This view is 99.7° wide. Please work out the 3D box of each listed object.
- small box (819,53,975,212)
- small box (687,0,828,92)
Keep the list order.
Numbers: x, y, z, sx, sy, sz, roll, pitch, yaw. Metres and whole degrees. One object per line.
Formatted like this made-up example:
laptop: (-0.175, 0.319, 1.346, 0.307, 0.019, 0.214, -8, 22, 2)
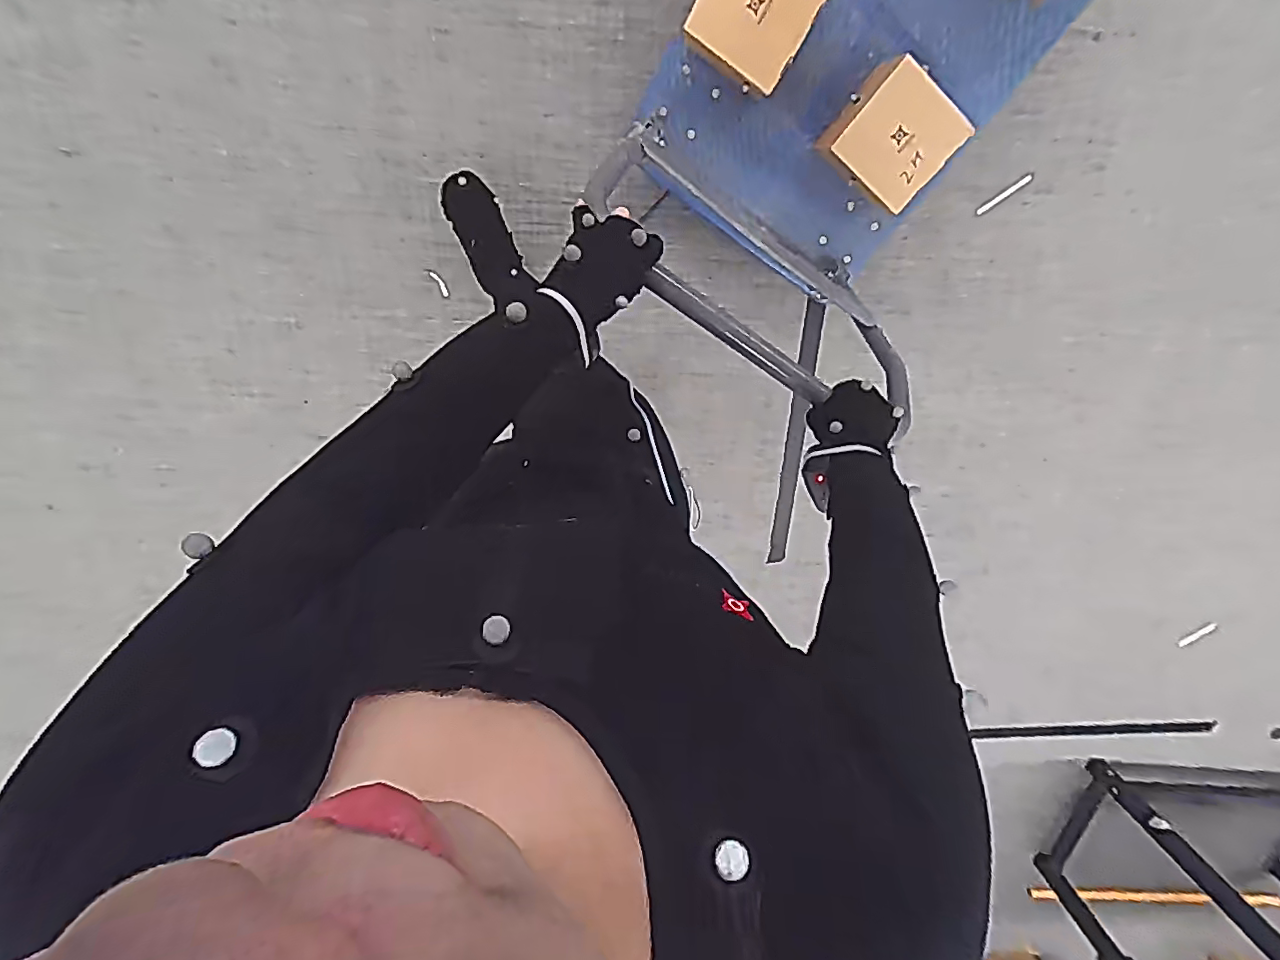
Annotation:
small box: (0.454, -0.624, 0.987, 0.179, 0.176, 0.168, 35, 120, -16)
small box: (0.192, -0.785, 0.908, 0.179, 0.176, 0.168, 28, 121, -15)
